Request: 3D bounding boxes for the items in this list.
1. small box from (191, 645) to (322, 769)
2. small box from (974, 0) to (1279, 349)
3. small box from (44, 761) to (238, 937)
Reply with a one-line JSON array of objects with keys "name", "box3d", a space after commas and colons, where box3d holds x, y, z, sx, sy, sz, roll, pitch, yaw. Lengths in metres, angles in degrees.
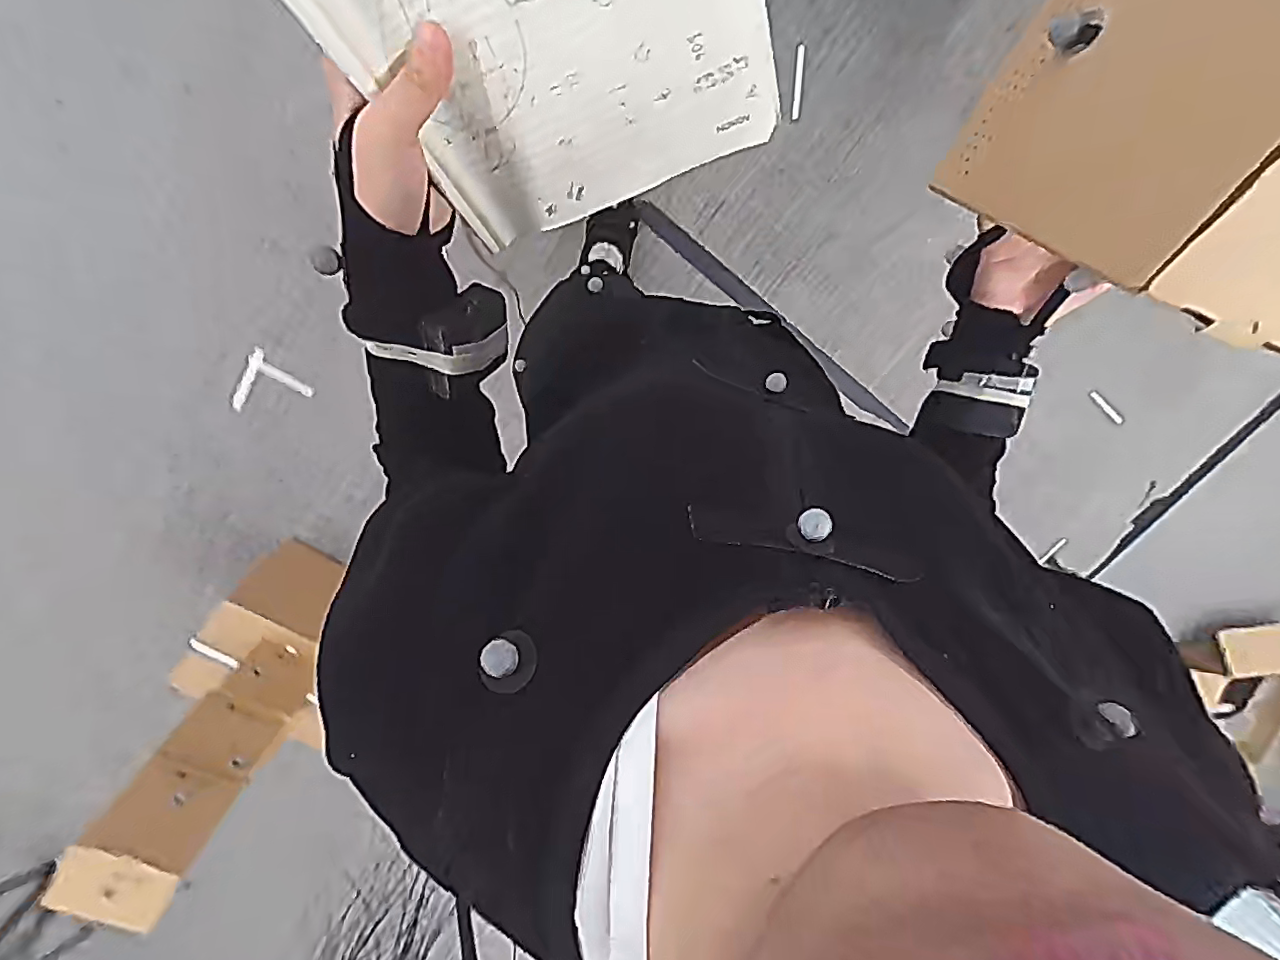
[{"name": "small box", "box3d": [-0.875, 0.518, 1.252, 0.168, 0.176, 0.179, 30, 107, -15]}, {"name": "small box", "box3d": [0.311, -0.191, 0.268, 0.168, 0.176, 0.179, 7, 131, -22]}, {"name": "small box", "box3d": [-0.857, 0.639, 0.947, 0.168, 0.176, 0.179, 32, 106, -17]}]
